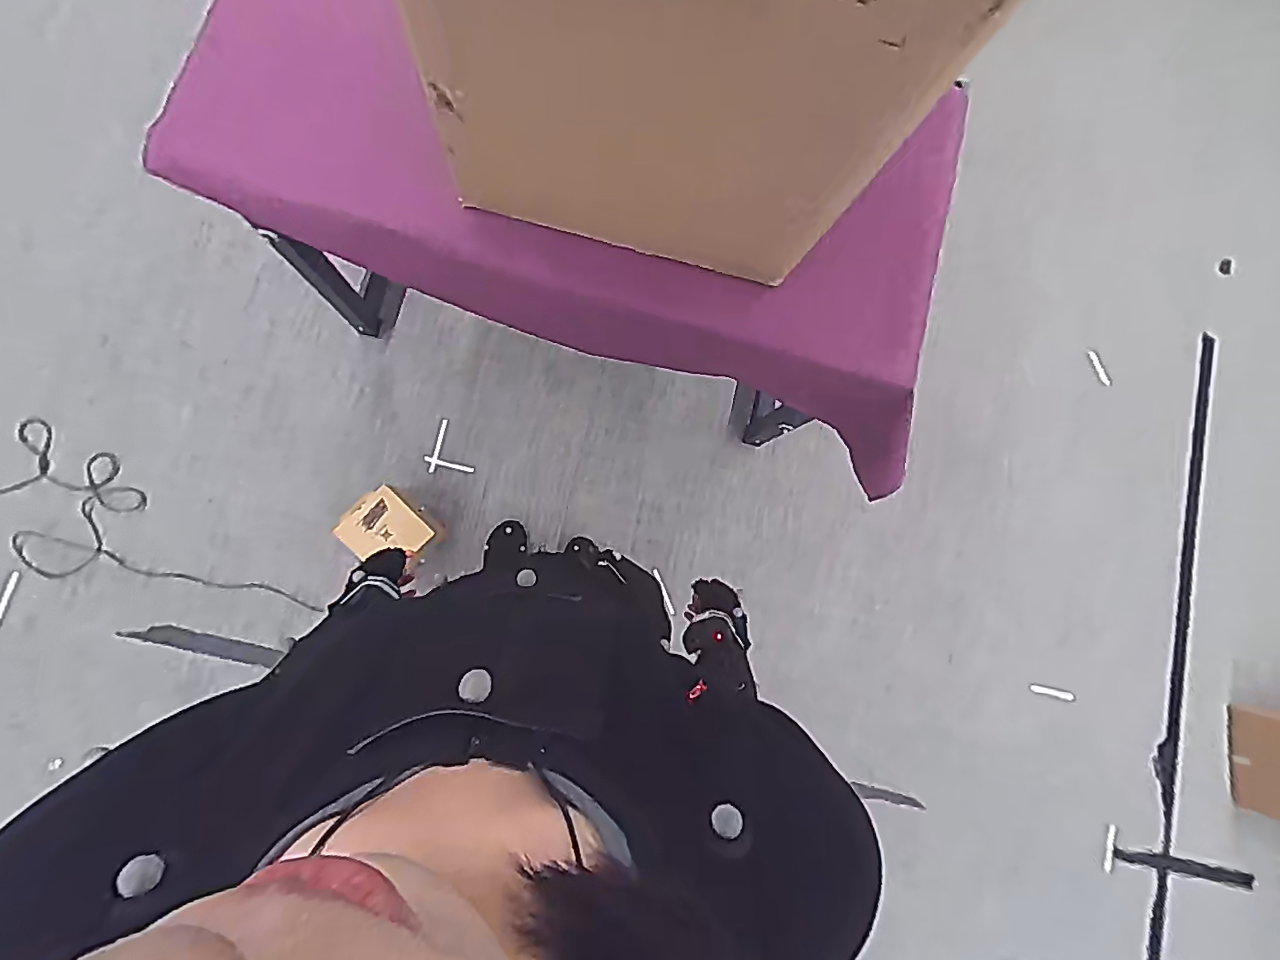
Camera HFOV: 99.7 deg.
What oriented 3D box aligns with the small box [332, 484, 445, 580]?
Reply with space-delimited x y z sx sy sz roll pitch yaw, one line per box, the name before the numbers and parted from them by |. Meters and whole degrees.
small box | -0.626 0.134 1.372 0.179 0.176 0.168 46 80 -2
